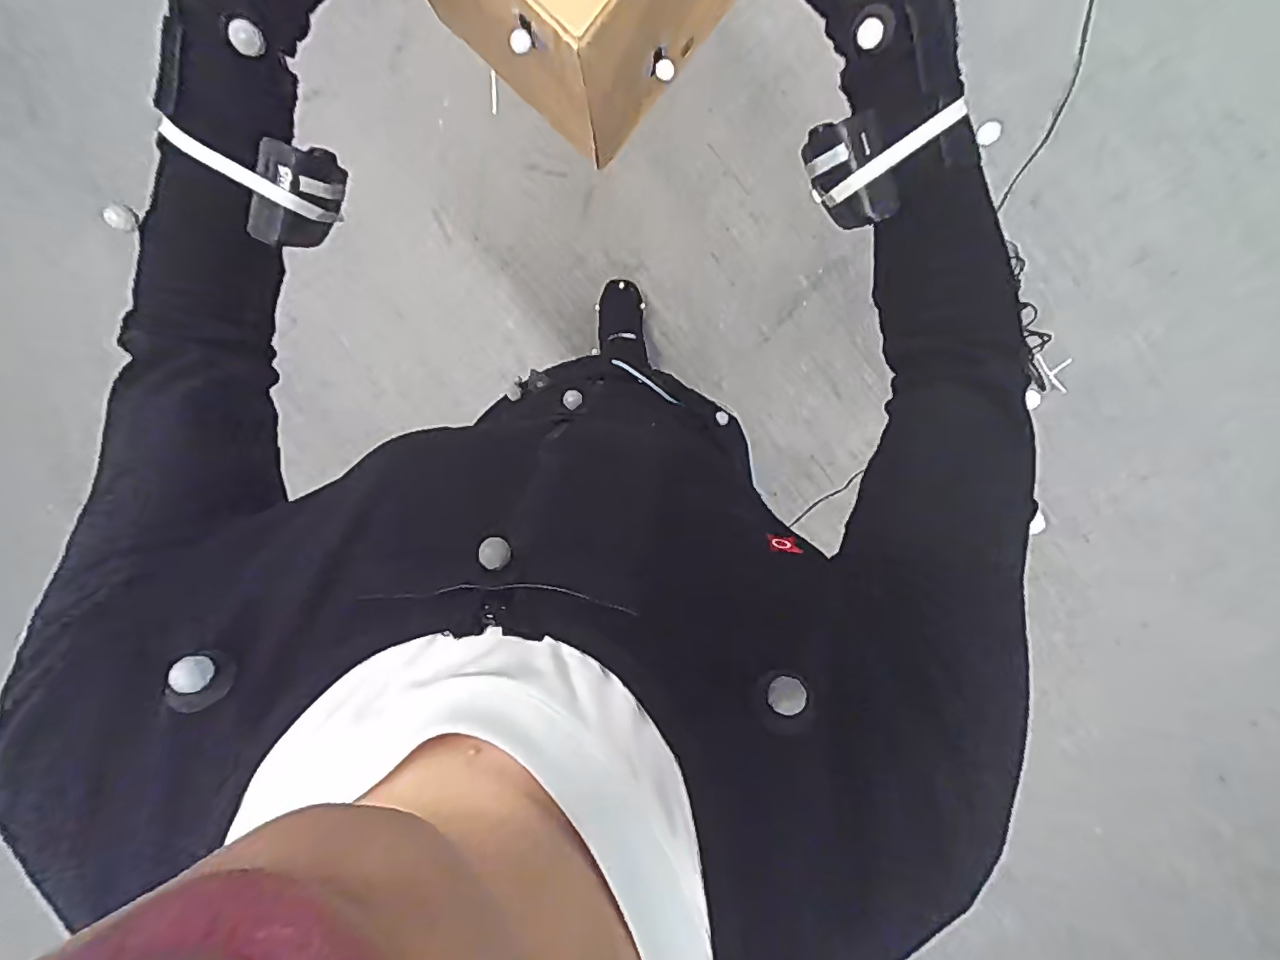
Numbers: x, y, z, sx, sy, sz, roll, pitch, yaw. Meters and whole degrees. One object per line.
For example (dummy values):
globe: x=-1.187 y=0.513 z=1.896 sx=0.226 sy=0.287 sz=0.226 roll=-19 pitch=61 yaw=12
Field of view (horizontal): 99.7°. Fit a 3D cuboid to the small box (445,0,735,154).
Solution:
small box: x=-0.039 y=-0.363 z=0.354 sx=0.179 sy=0.176 sz=0.168 roll=41 pitch=97 yaw=-7
